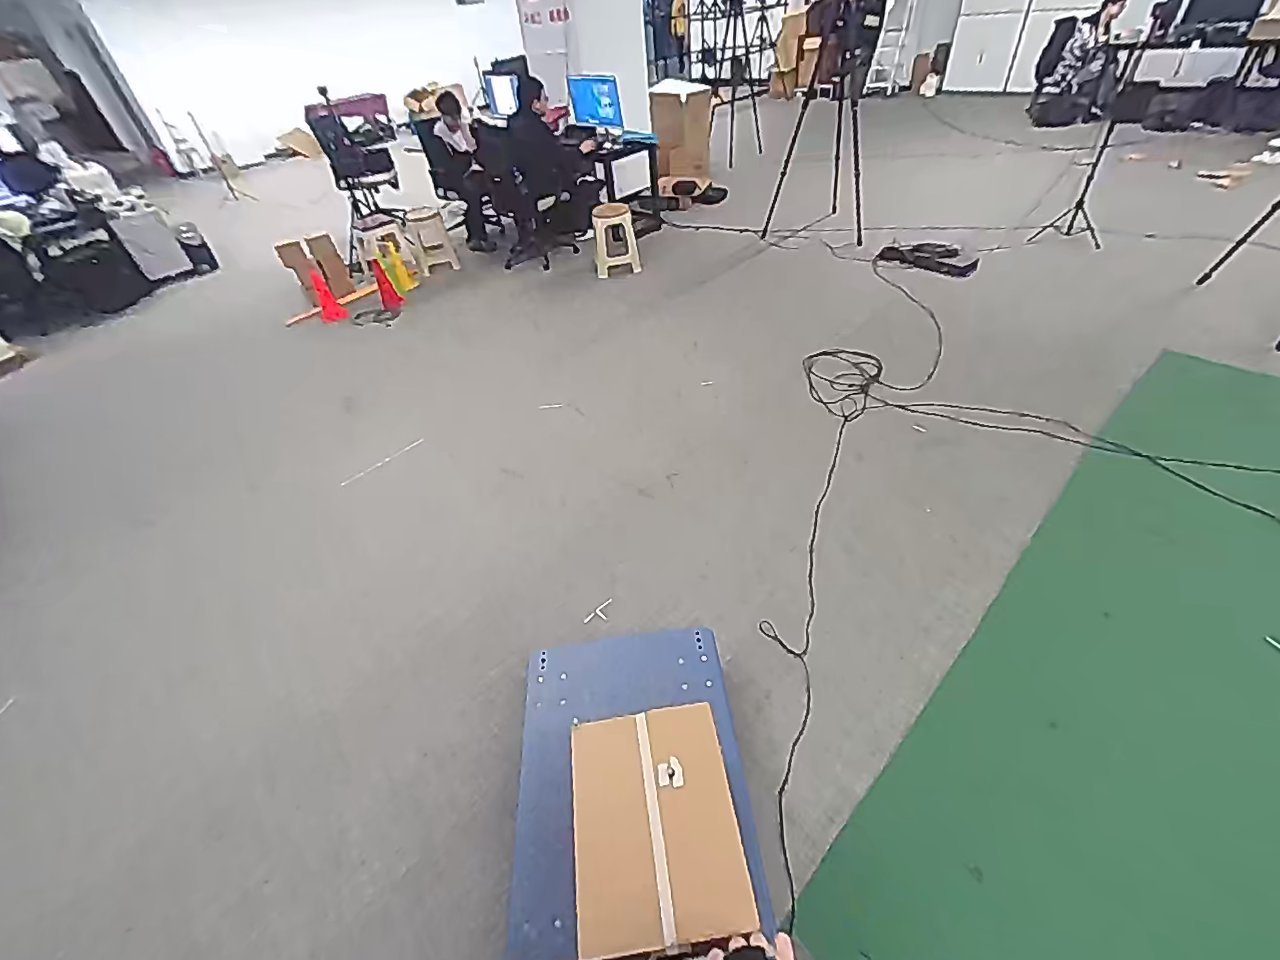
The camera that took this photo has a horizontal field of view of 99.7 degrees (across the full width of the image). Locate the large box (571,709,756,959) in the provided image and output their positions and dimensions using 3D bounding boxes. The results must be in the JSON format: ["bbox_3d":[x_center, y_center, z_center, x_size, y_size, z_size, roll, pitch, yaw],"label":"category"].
[{"bbox_3d":[0.039,0.780,1.164,0.320,0.320,0.408,-8,41,-2],"label":"large box"}]
